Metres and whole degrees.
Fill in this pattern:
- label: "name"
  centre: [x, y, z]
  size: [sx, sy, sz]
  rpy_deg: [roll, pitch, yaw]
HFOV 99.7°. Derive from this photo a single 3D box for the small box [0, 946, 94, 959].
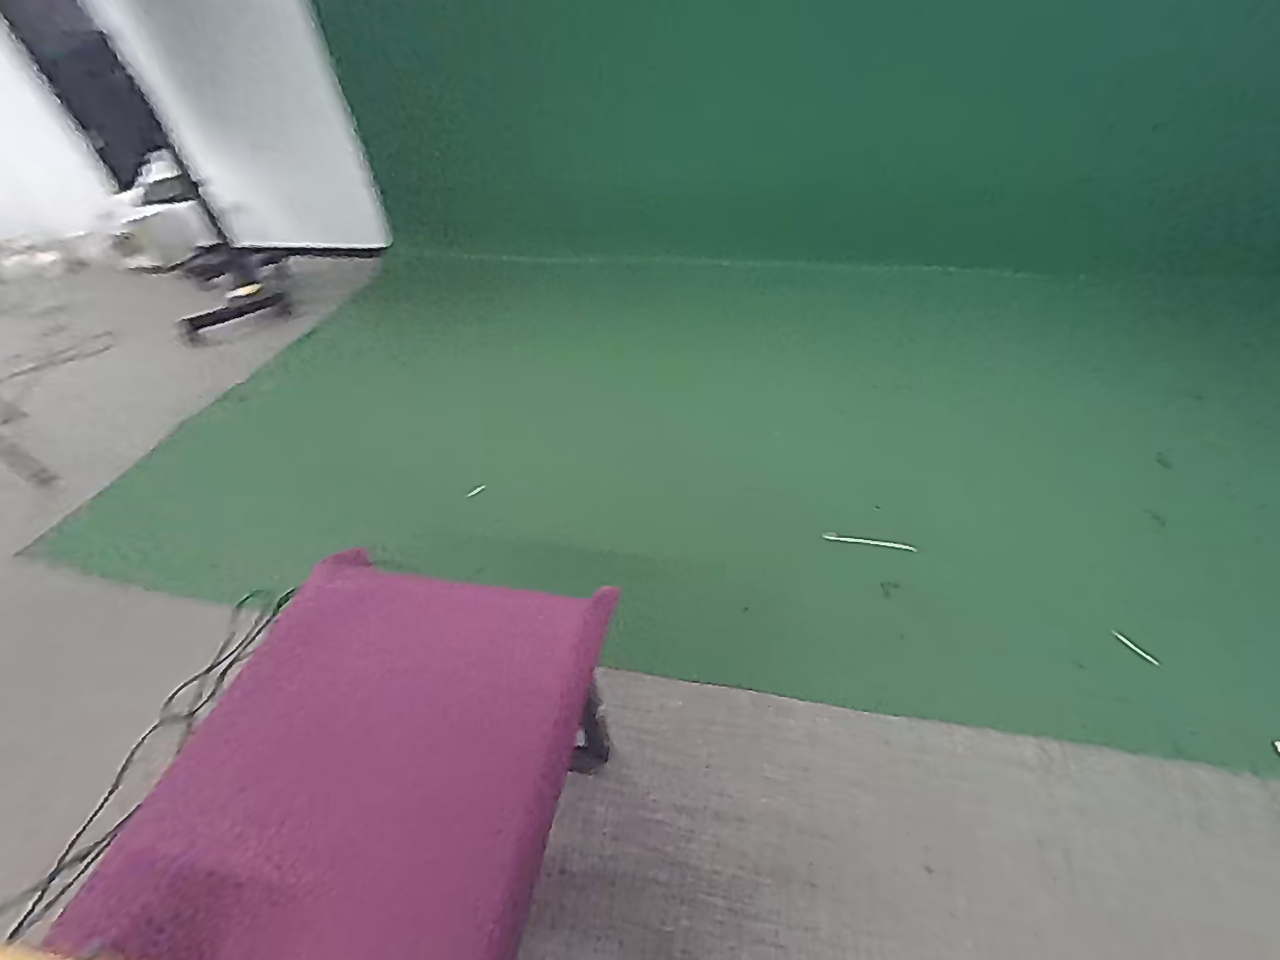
- label: "small box"
  centre: [-0.650, 0.645, 0.594]
  size: [0.179, 0.176, 0.168]
  rpy_deg: [5, 45, 9]
